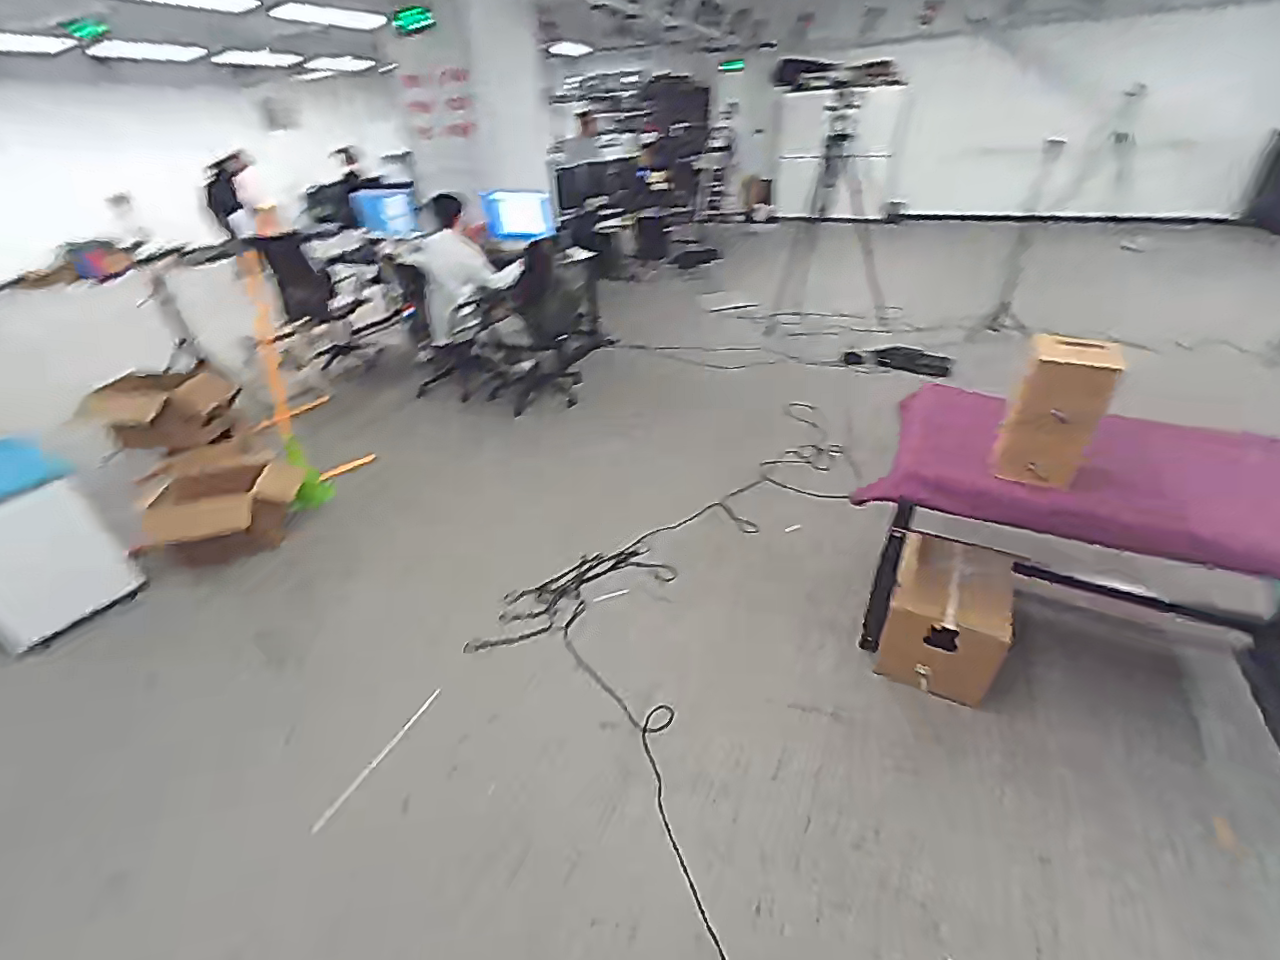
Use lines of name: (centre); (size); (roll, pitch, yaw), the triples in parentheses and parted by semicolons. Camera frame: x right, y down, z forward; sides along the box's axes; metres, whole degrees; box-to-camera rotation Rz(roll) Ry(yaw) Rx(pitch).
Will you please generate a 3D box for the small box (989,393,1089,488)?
small box: (1.031, -0.105, 1.410); (0.168, 0.176, 0.179); (15, 38, 26)
